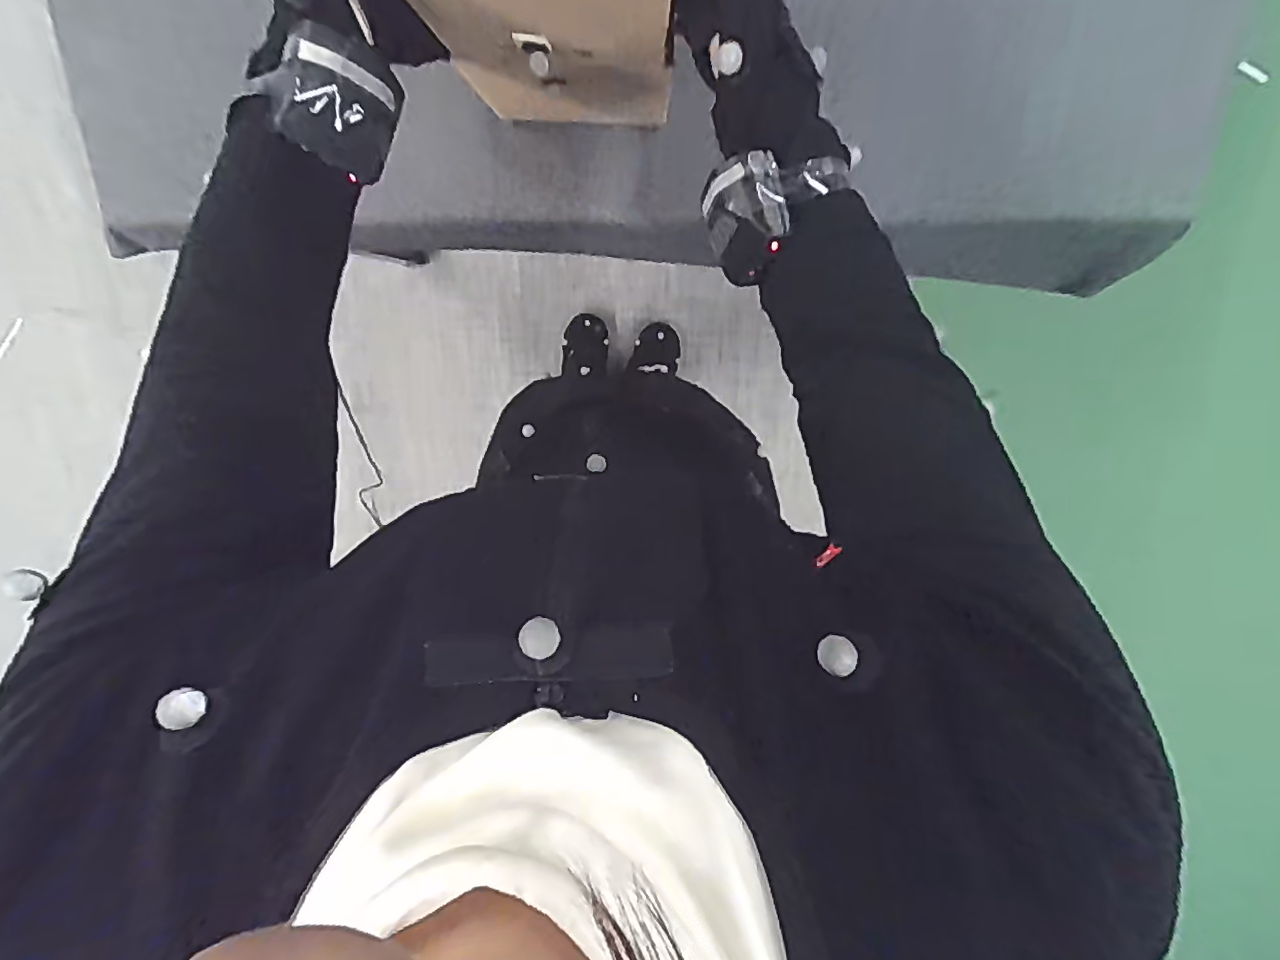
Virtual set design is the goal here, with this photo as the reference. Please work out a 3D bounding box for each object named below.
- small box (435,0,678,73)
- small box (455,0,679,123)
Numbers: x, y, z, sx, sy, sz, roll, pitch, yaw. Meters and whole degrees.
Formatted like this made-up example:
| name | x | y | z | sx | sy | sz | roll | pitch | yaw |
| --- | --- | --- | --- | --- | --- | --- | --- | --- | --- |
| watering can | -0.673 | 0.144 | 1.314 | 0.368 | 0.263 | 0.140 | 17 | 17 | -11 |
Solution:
| name | x | y | z | sx | sy | sz | roll | pitch | yaw |
| --- | --- | --- | --- | --- | --- | --- | --- | --- | --- |
| small box | -0.054 | -0.379 | 0.321 | 0.168 | 0.176 | 0.179 | 3 | 111 | 1 |
| small box | -0.054 | -0.431 | 0.474 | 0.179 | 0.176 | 0.168 | 1 | 110 | -1 |
